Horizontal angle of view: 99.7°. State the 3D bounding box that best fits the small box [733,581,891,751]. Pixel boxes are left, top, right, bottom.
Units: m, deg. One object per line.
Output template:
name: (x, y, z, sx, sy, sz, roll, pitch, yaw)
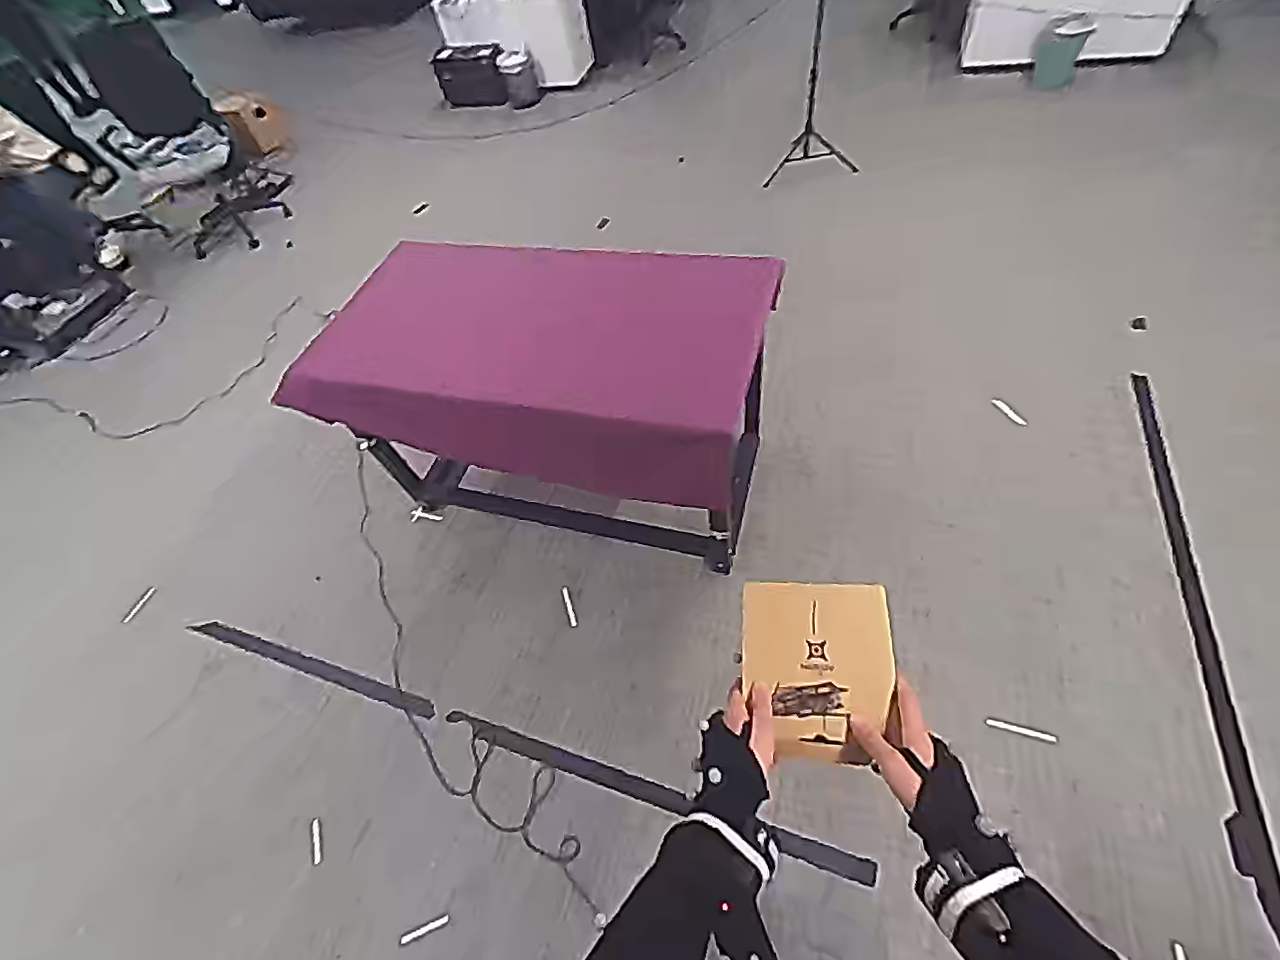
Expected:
small box: (0.206, 0.237, 0.682, 0.168, 0.176, 0.179, -2, 60, 13)
